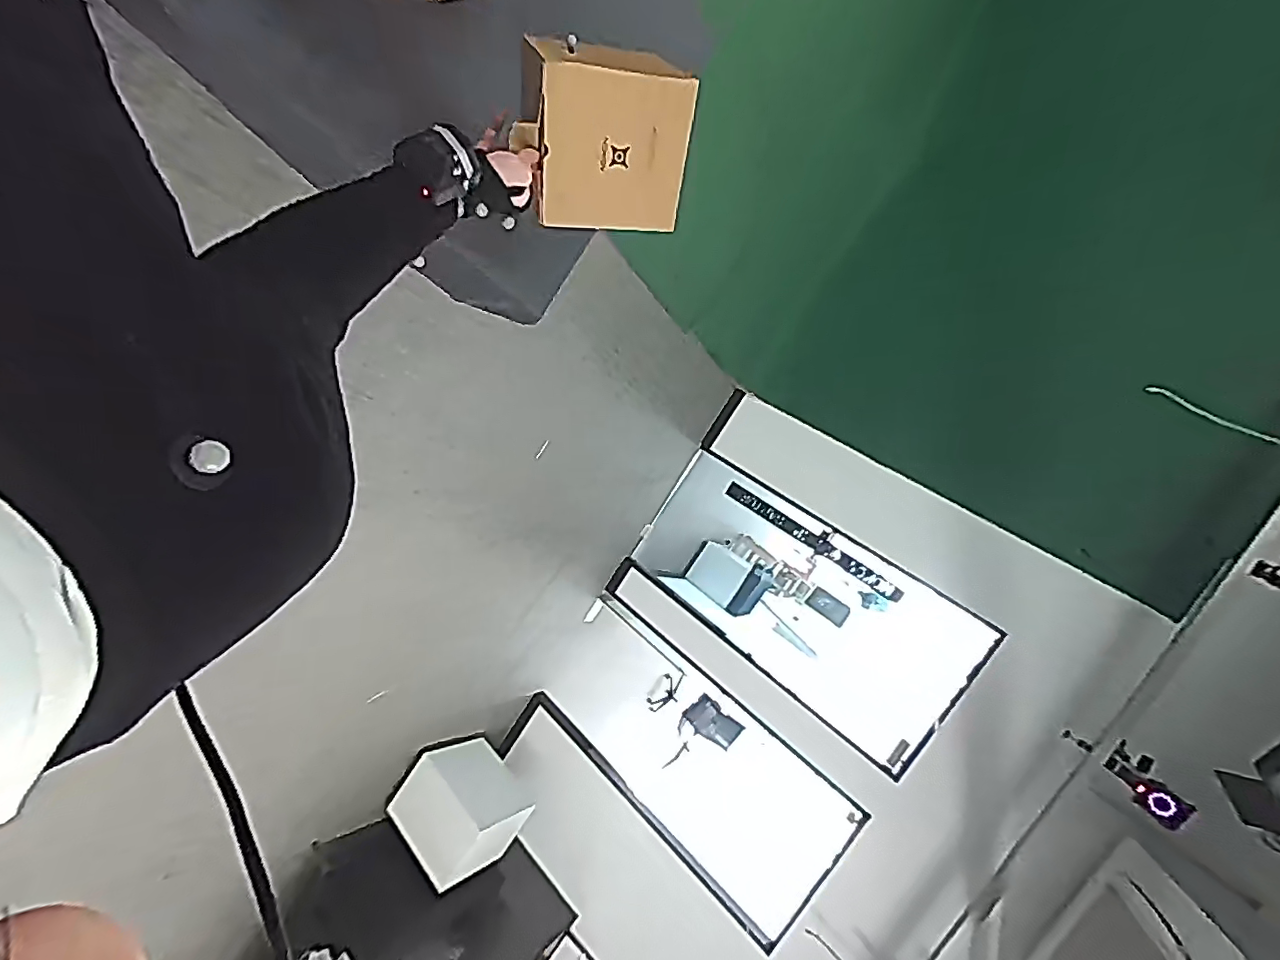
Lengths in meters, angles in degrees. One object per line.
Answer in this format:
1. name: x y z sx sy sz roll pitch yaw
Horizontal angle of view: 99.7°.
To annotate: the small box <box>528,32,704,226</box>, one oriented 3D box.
1. small box: -0.044 -0.436 0.675 0.179 0.176 0.168 -6 137 -17
